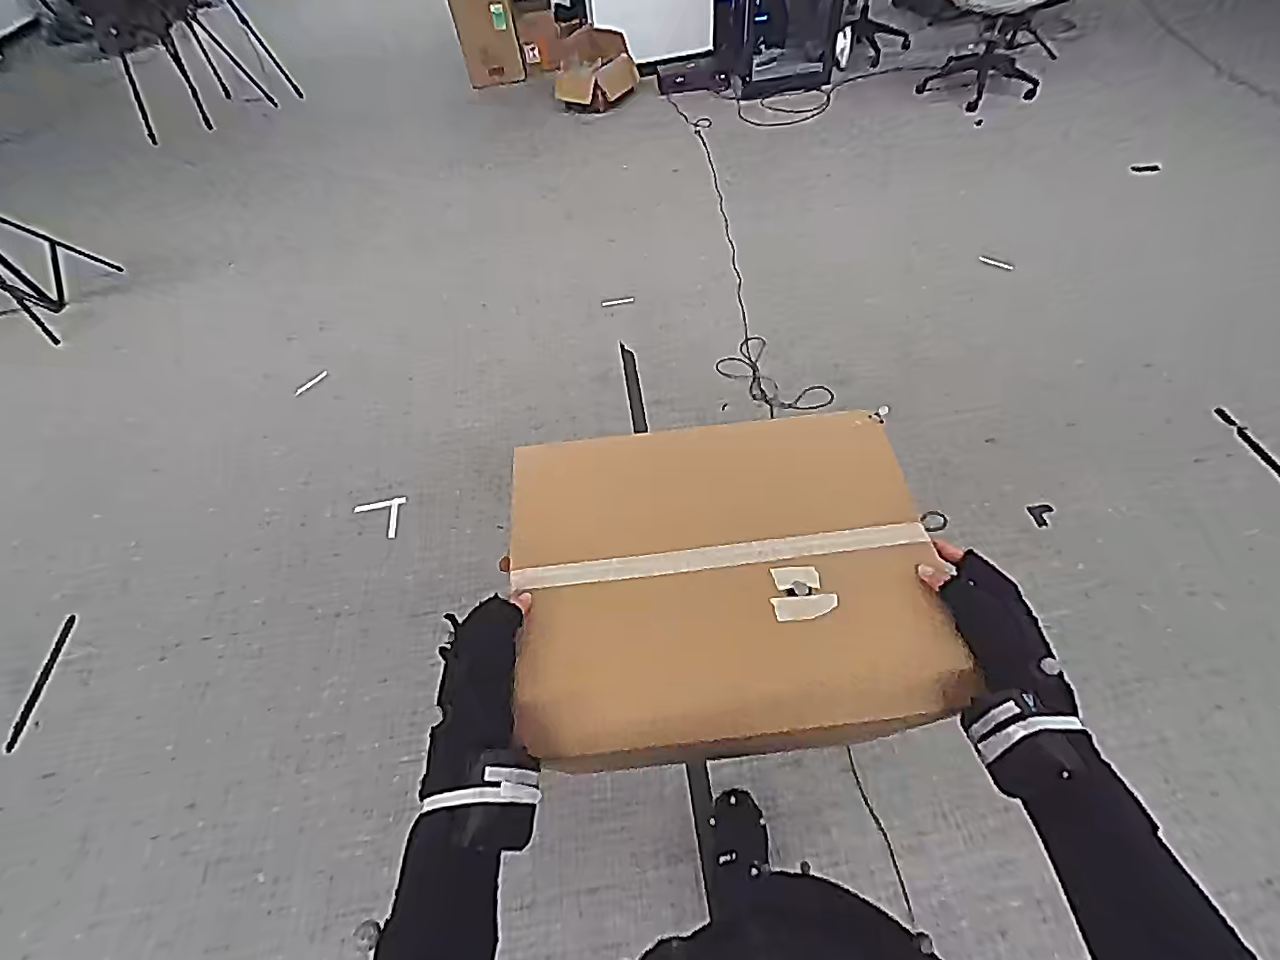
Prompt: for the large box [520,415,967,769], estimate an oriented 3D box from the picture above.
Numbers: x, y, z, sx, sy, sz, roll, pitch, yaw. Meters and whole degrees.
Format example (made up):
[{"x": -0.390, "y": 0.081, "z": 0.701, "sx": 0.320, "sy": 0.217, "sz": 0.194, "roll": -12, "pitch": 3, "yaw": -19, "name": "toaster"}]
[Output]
[{"x": 0.083, "y": 0.155, "z": 0.674, "sx": 0.408, "sy": 0.320, "sz": 0.320, "roll": -7, "pitch": 60, "yaw": -1, "name": "large box"}]
